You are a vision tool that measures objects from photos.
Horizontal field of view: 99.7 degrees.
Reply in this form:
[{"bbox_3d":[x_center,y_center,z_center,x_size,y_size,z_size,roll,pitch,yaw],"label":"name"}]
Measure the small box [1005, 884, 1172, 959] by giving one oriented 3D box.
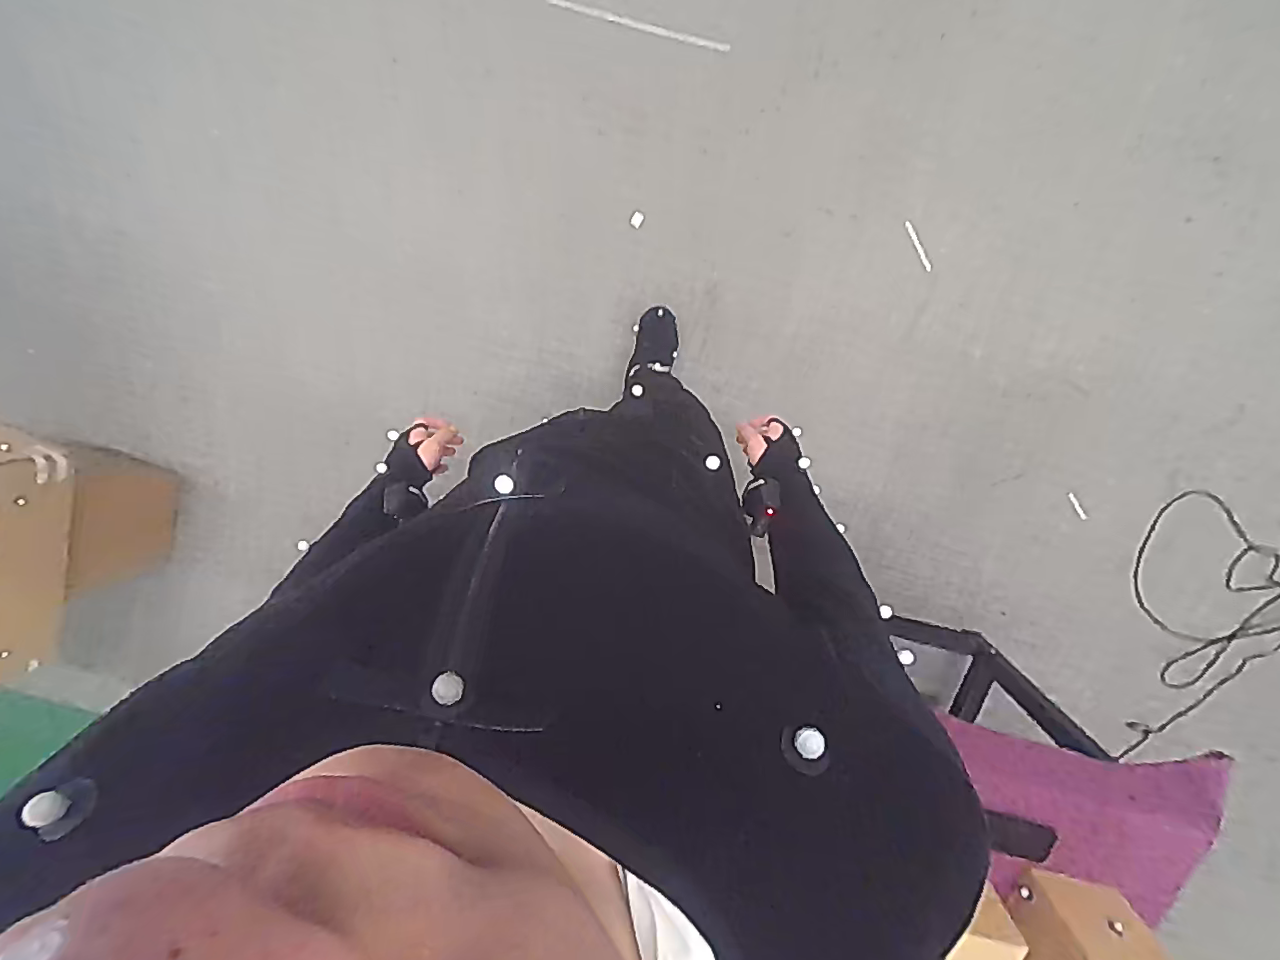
[{"bbox_3d":[0.771,0.837,0.918,0.179,0.176,0.168,14,103,0],"label":"small box"}]
